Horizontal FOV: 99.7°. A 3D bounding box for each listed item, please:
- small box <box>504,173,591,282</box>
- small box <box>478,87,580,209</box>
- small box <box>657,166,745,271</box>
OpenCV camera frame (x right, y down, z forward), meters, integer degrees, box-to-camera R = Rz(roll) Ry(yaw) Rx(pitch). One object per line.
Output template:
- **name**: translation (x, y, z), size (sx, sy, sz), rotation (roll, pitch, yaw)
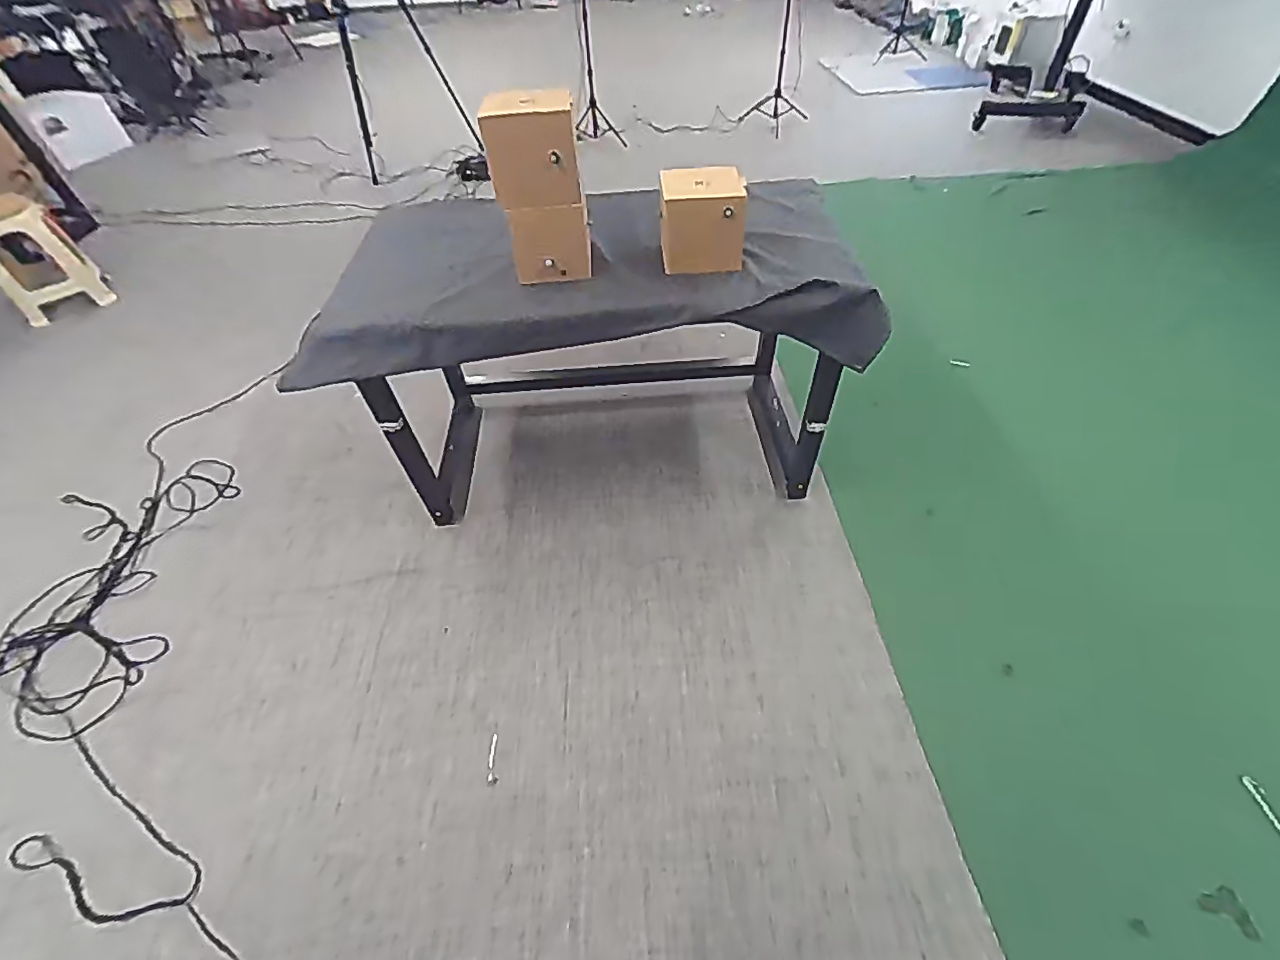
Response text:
- **small box**: translation (-0.204, -0.575, 1.234), size (0.168, 0.176, 0.179), rotation (-5, 50, -1)
- **small box**: translation (-0.217, -0.679, 1.110), size (0.179, 0.176, 0.168), rotation (-6, 48, -1)
- **small box**: translation (0.133, -0.591, 1.232), size (0.179, 0.176, 0.168), rotation (-3, 49, 0)
